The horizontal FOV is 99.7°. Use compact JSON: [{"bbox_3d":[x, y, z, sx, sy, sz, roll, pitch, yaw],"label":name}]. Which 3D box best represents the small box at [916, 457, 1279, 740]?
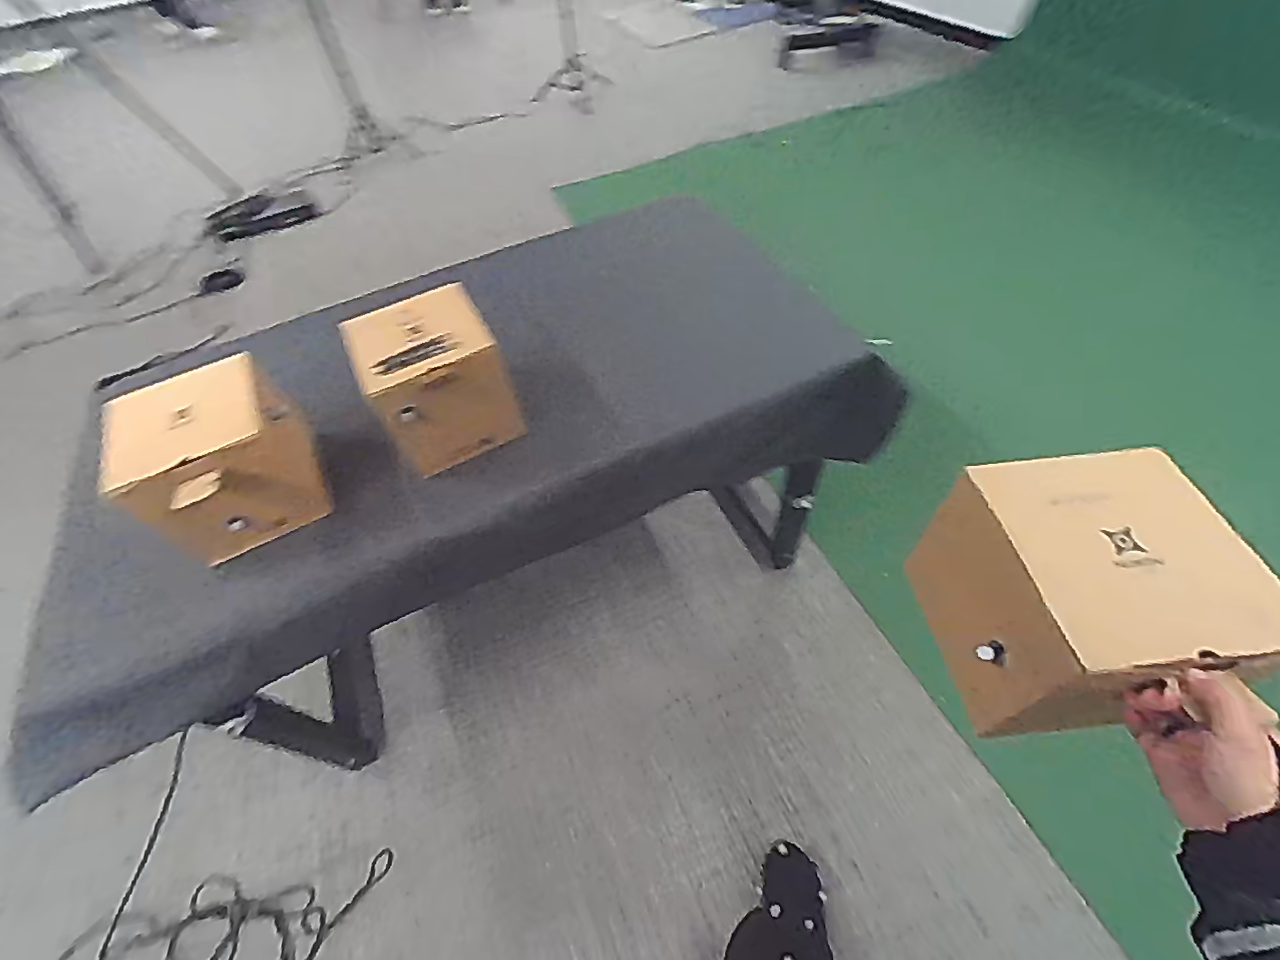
[{"bbox_3d":[0.366,0.105,0.452,0.168,0.176,0.179,-5,49,0],"label":"small box"}]

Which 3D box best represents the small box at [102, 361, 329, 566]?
[{"bbox_3d":[-0.547,-0.020,0.715,0.168,0.176,0.179,-27,55,-15],"label":"small box"}]
